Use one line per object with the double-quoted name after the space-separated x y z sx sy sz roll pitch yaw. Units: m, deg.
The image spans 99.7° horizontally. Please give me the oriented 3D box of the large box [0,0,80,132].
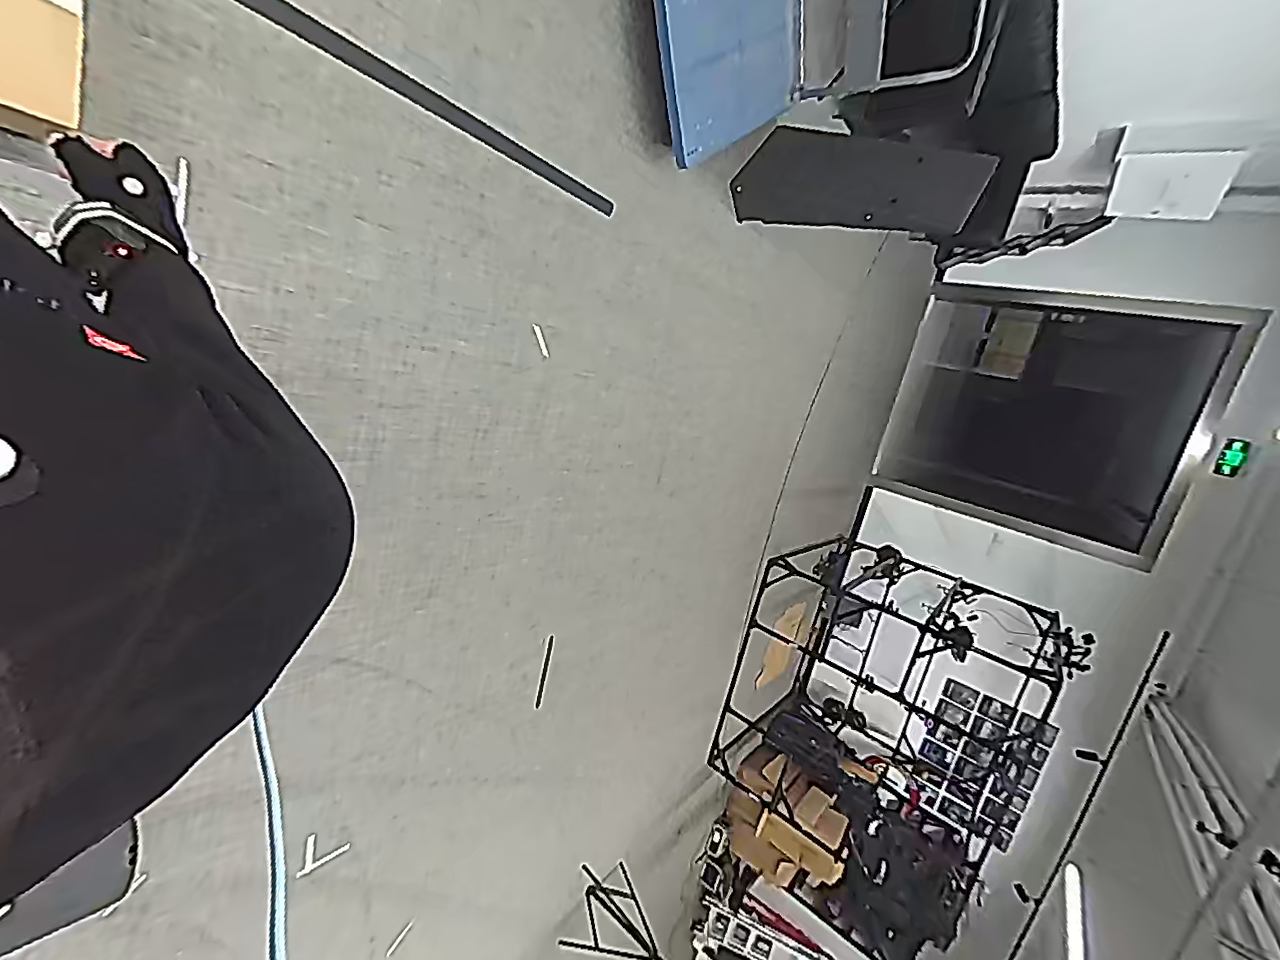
-1.010 -0.695 0.668 0.408 0.320 0.320 -2 110 -55 "large box"
